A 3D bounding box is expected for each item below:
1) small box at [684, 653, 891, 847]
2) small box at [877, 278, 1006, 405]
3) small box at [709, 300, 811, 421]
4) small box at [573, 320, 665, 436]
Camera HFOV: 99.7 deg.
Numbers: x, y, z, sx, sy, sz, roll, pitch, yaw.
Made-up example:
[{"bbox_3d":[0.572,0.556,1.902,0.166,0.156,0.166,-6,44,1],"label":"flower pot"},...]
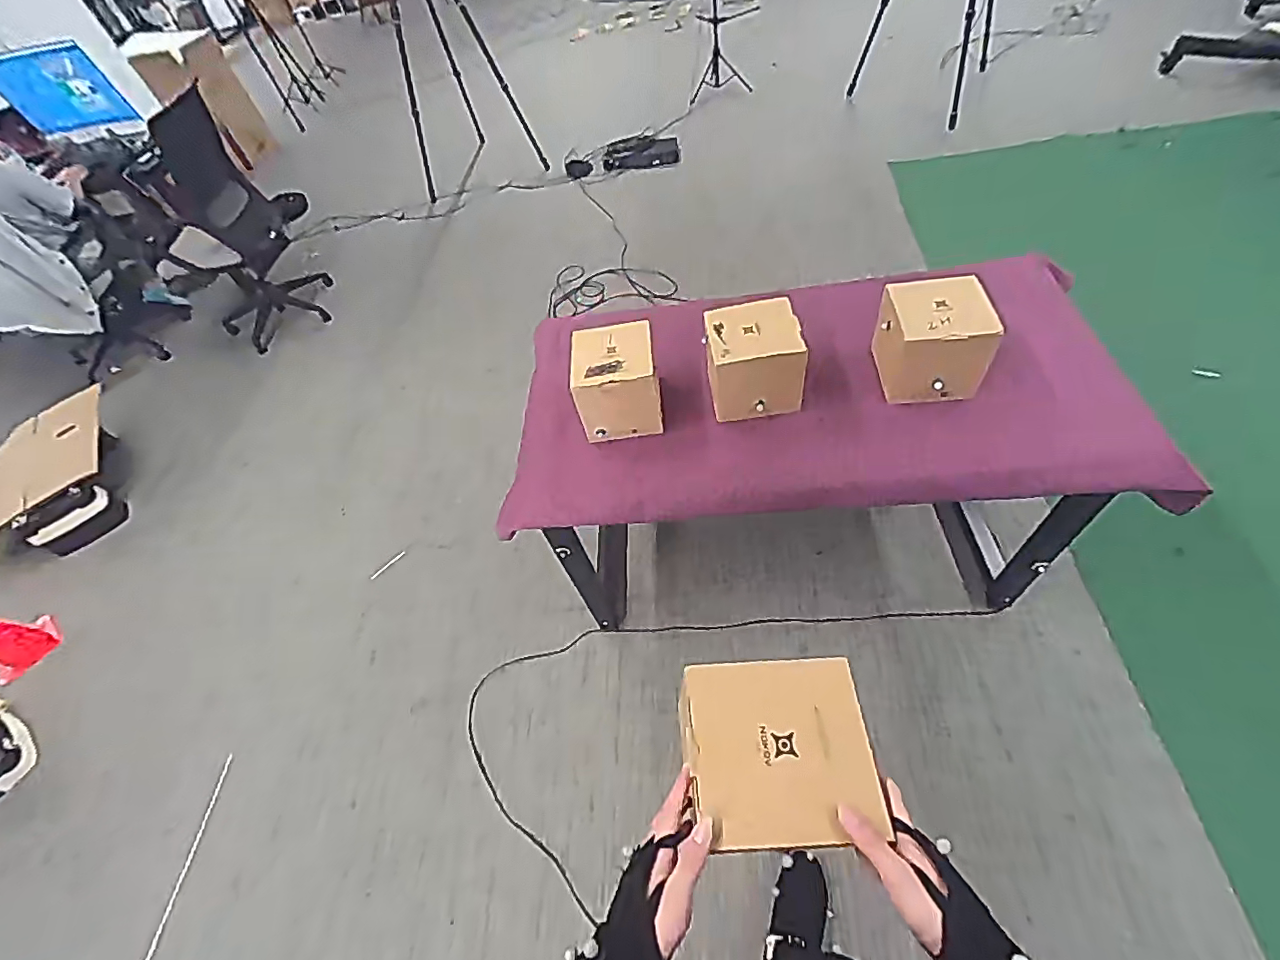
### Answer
[{"bbox_3d":[0.139,0.299,0.591,0.179,0.176,0.168,-2,55,0],"label":"small box"},{"bbox_3d":[0.581,-0.271,1.071,0.168,0.176,0.179,-3,54,10],"label":"small box"},{"bbox_3d":[0.240,-0.242,1.119,0.179,0.176,0.168,-7,53,6],"label":"small box"},{"bbox_3d":[-0.039,-0.207,1.147,0.168,0.176,0.179,-7,53,6],"label":"small box"}]
